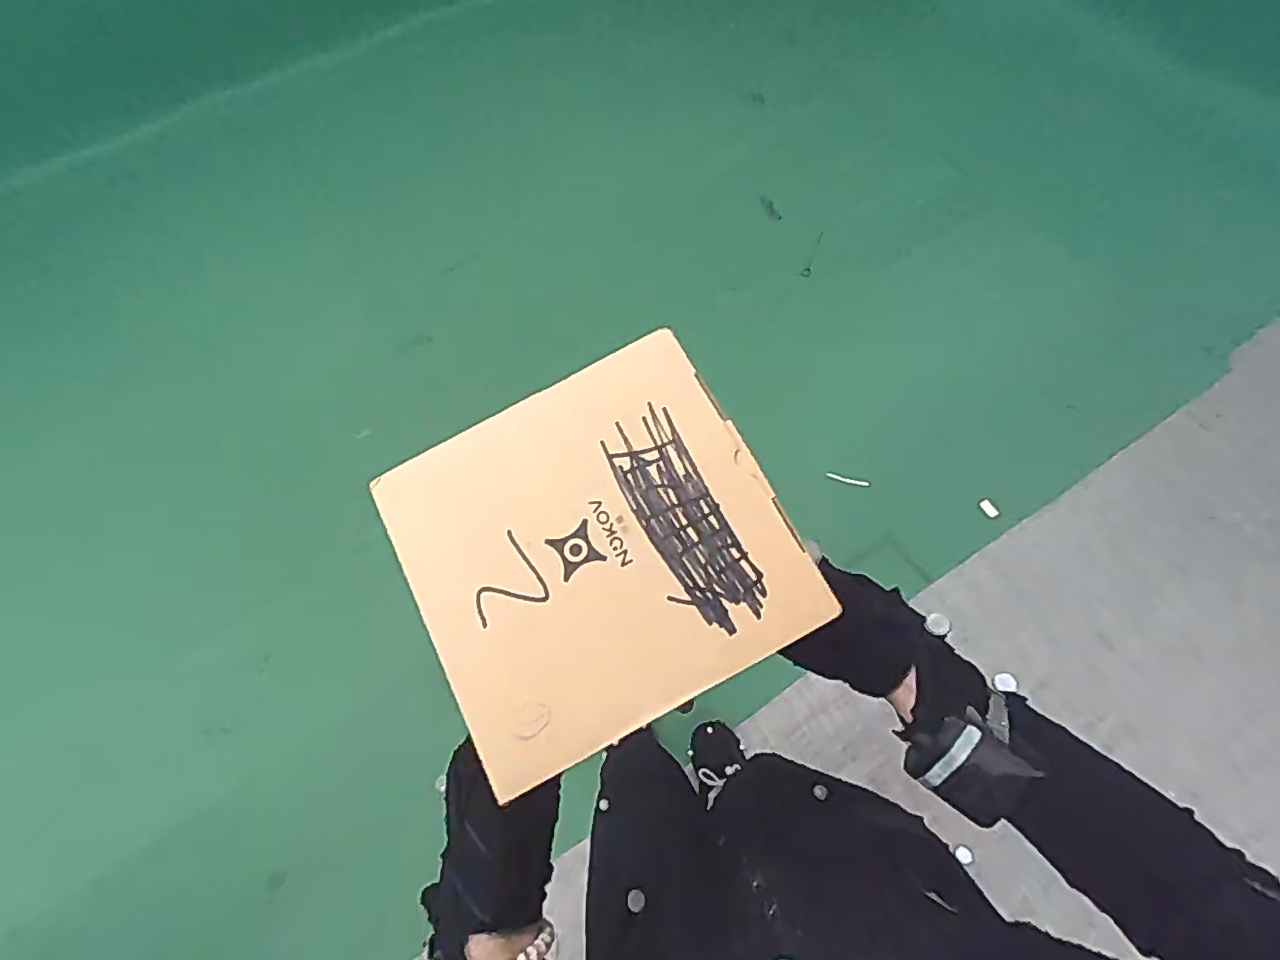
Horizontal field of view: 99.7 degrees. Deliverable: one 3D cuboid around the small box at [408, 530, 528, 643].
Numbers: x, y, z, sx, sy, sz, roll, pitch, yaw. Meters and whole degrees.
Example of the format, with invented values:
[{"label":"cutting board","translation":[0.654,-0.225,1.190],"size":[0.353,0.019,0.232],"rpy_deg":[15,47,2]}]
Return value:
[{"label":"small box","translation":[-0.371,0.241,1.191],"size":[0.179,0.176,0.168],"rpy_deg":[-27,68,-8]}]
